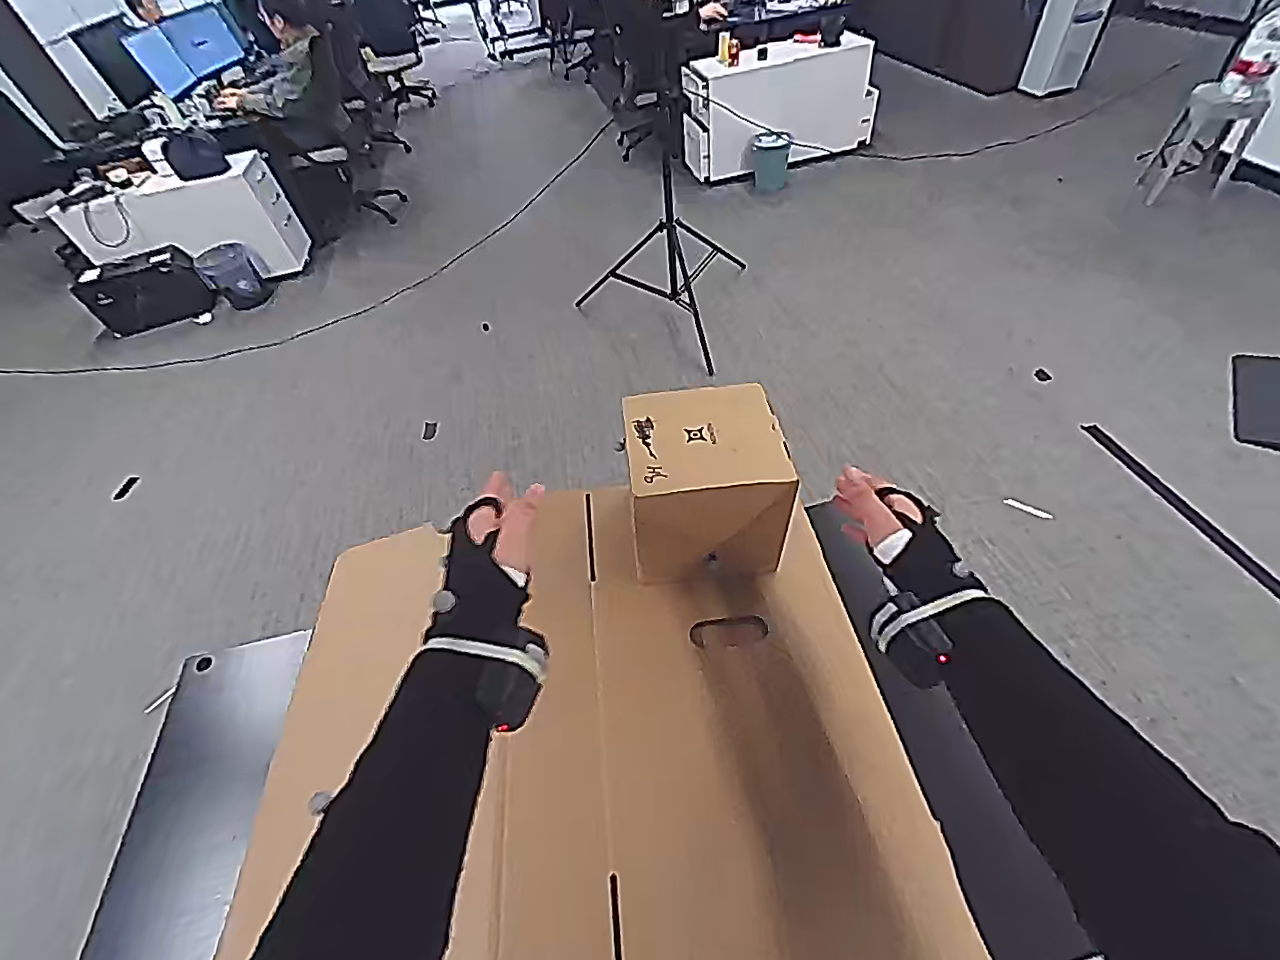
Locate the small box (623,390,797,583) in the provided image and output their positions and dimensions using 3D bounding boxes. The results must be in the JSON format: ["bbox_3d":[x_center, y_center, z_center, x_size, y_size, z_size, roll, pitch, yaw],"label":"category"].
[{"bbox_3d":[0.074,0.010,0.671,0.179,0.176,0.168,-6,47,-2],"label":"small box"}]
